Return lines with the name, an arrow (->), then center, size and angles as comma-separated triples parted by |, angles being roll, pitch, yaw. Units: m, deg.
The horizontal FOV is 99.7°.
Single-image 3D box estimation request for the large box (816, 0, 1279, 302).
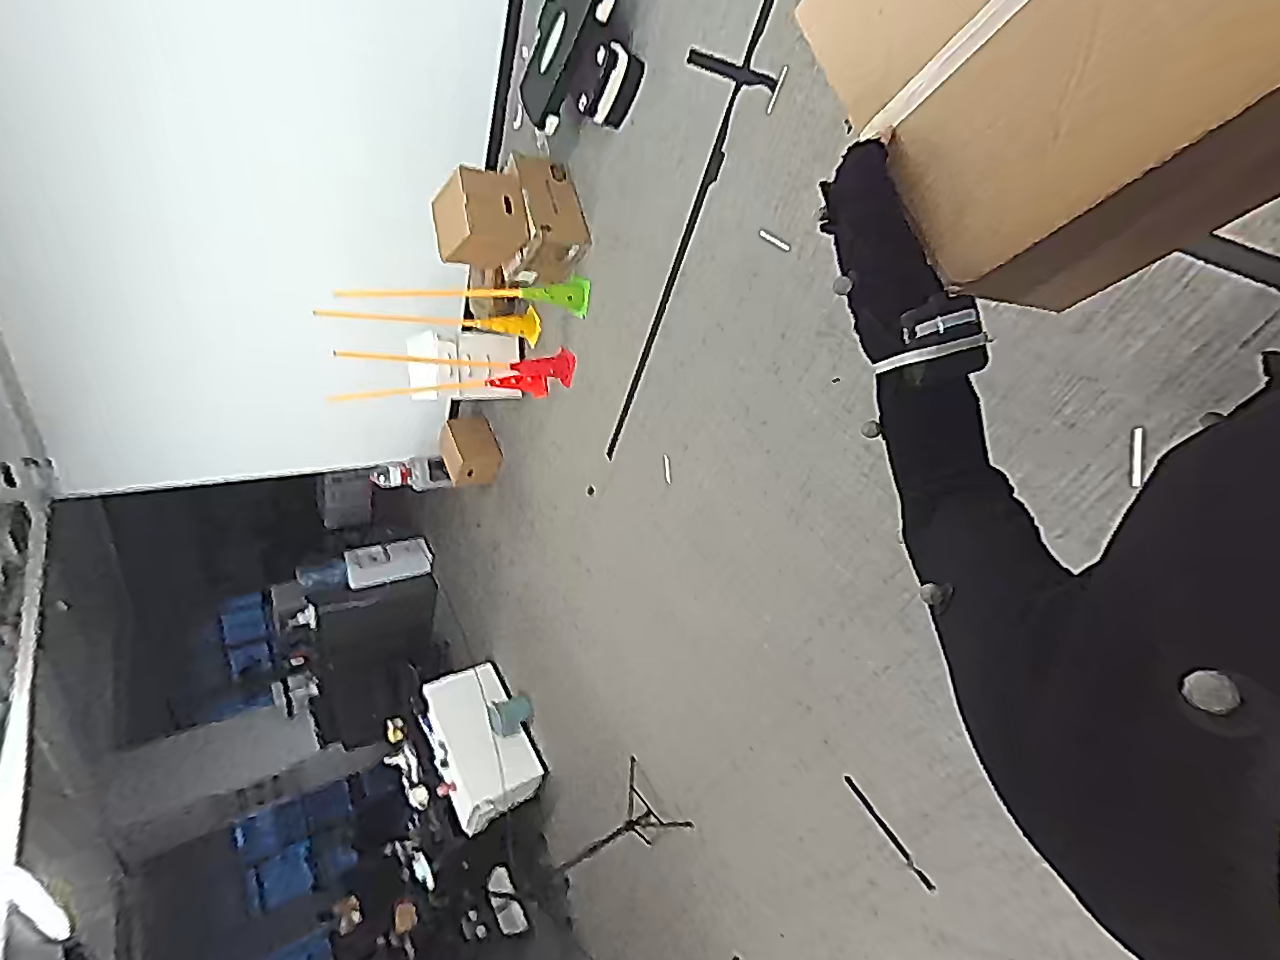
large box -> 0.431, -0.394, 0.414 | 0.408, 0.320, 0.320 | -34, 73, 49
